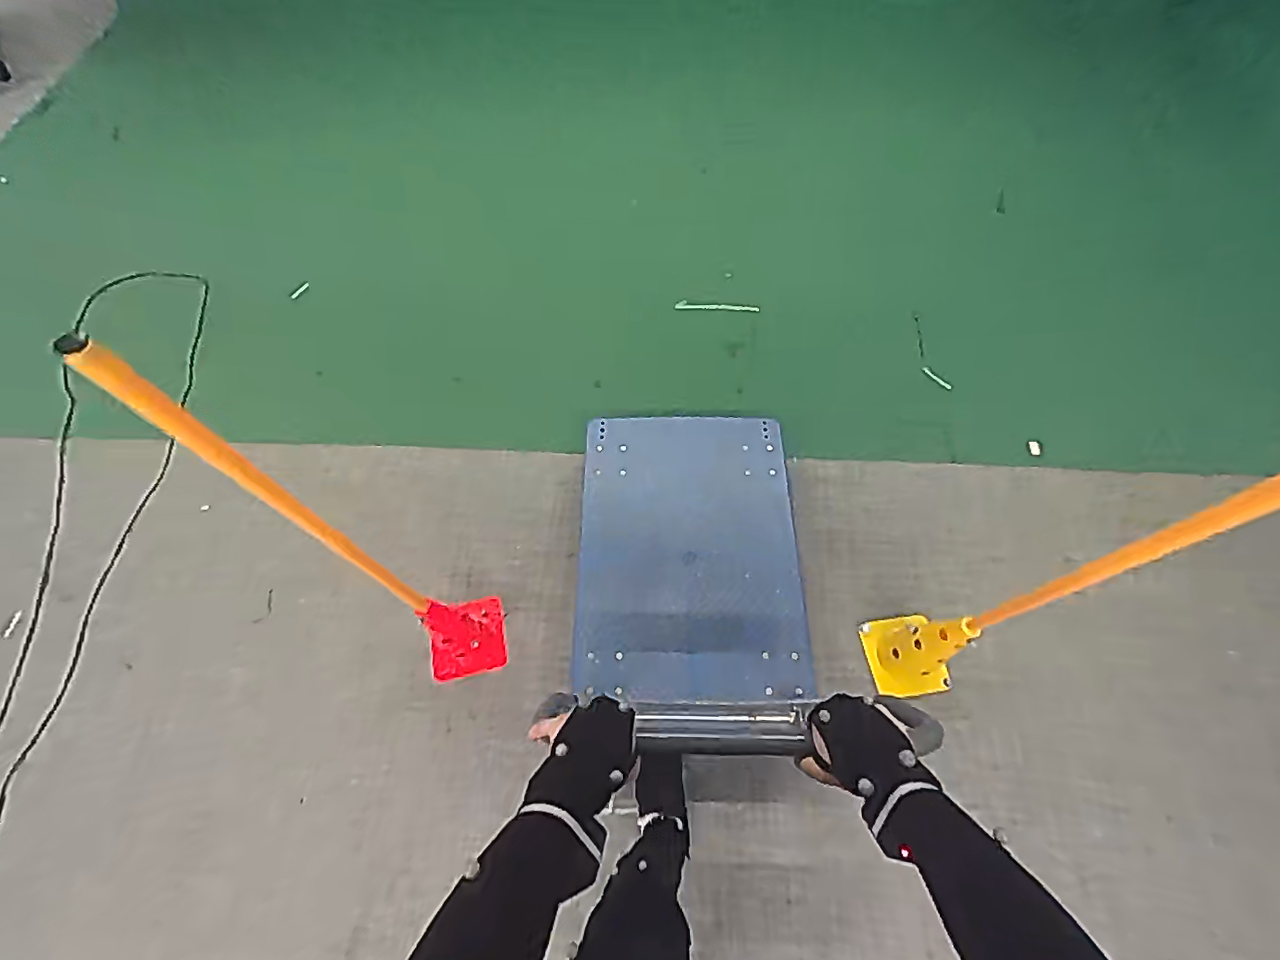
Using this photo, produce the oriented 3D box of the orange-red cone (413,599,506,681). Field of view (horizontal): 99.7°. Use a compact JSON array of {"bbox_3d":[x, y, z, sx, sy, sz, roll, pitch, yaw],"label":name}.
[{"bbox_3d":[-0.476,0.359,1.334,0.199,0.360,0.198,-12,63,-4],"label":"orange-red cone"}]
